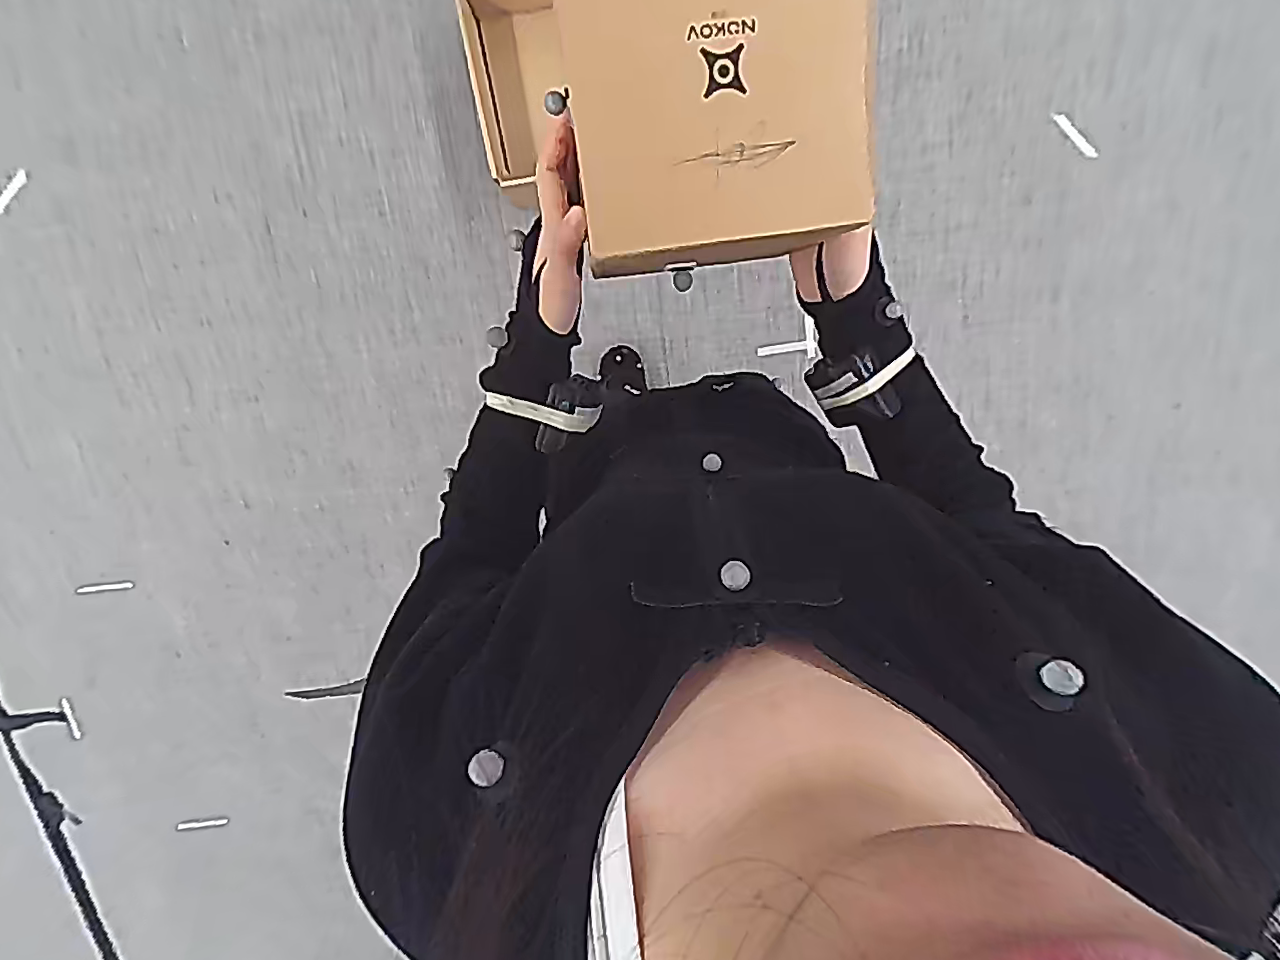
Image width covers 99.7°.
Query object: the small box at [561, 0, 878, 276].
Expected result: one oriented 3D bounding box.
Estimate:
[{"bbox_3d":[0.039,-0.244,0.362,0.168,0.176,0.179,-8,107,-2],"label":"small box"}]
